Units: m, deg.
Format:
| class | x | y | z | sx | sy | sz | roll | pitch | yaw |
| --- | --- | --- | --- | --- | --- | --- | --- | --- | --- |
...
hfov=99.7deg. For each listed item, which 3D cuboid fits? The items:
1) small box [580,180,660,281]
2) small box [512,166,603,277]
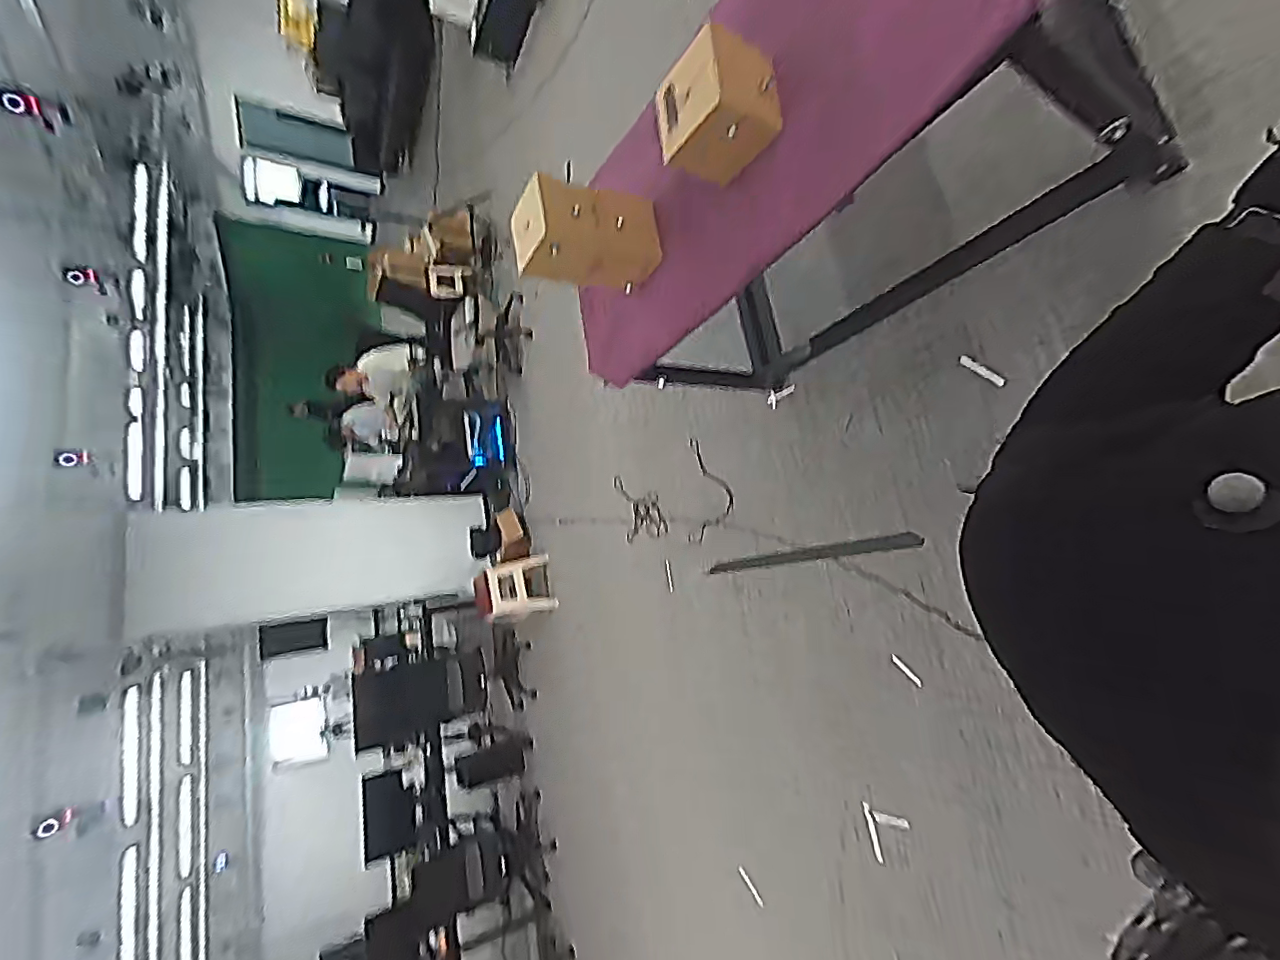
| class | x | y | z | sx | sy | sz | roll | pitch | yaw |
| --- | --- | --- | --- | --- | --- | --- | --- | --- | --- |
| small box | -0.062 | -0.644 | 1.426 | 0.168 | 0.176 | 0.179 | -24 | 72 | 55 |
| small box | -0.200 | -0.628 | 1.336 | 0.179 | 0.176 | 0.168 | -26 | 71 | 55 |
